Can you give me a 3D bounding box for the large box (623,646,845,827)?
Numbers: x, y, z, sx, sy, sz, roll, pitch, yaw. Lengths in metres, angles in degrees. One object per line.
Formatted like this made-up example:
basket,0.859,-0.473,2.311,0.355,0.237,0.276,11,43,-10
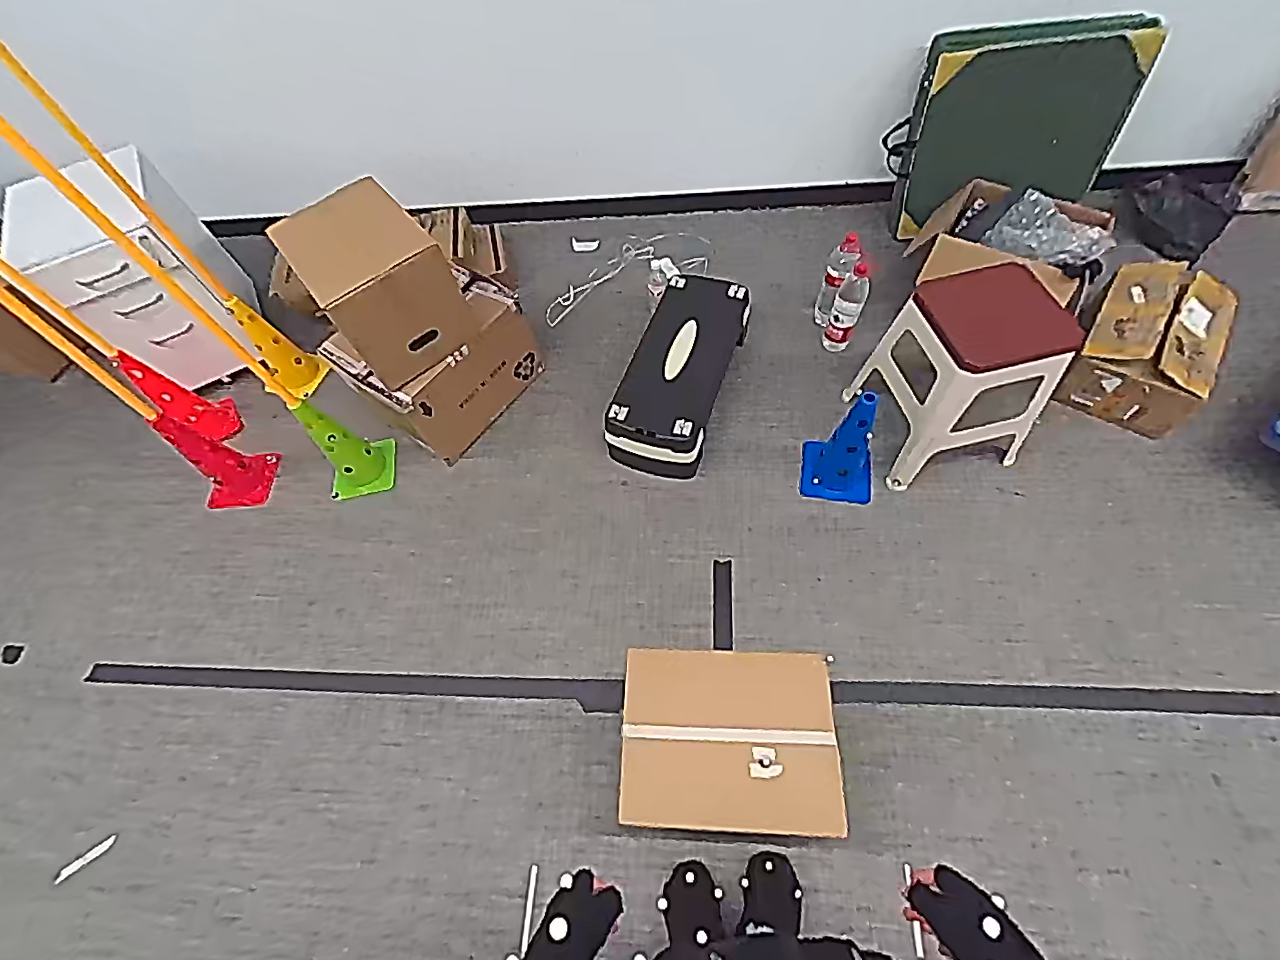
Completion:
large box,0.178,0.553,1.168,0.408,0.320,0.320,0,61,4
